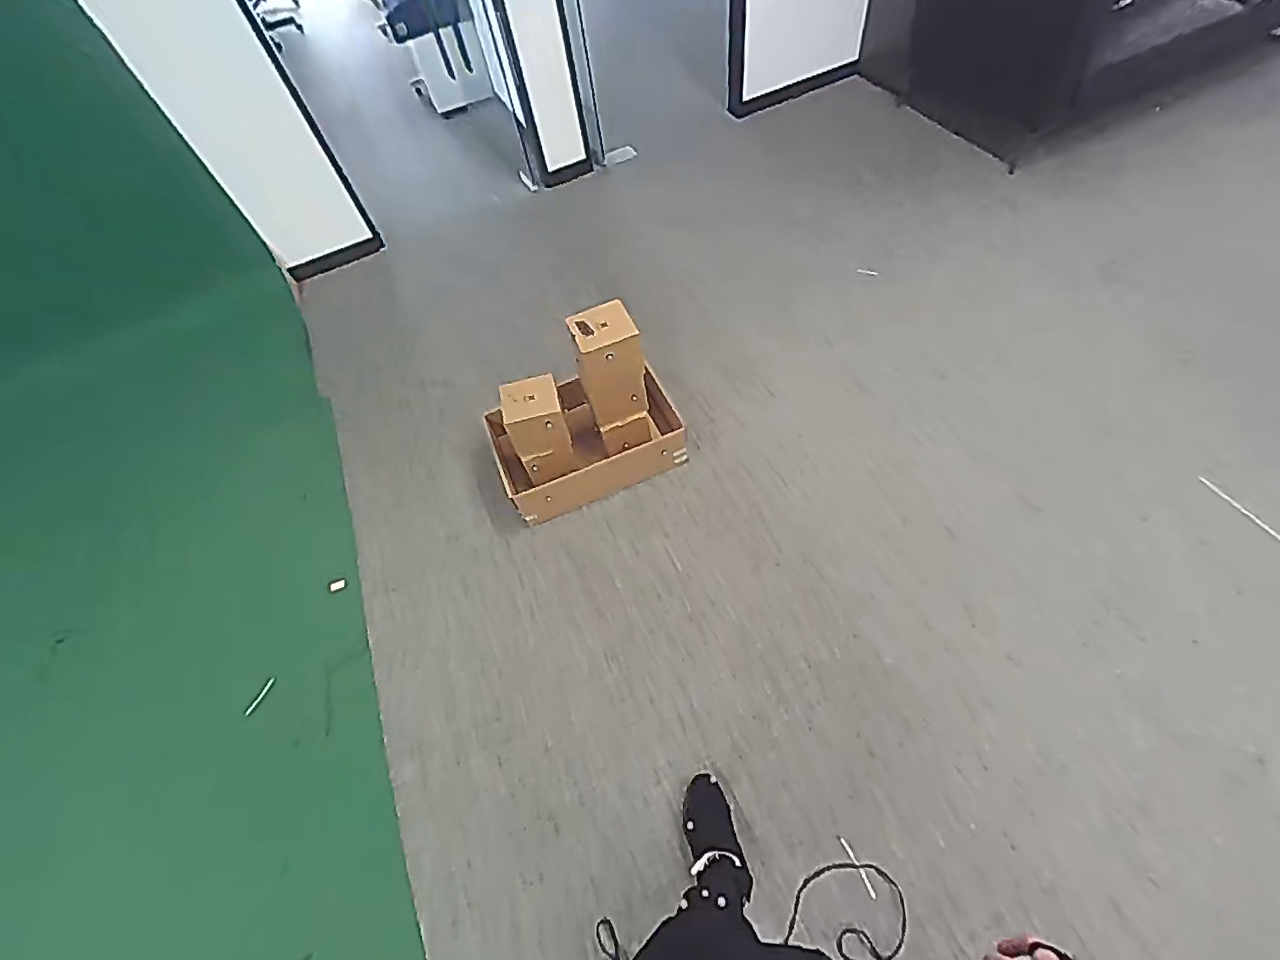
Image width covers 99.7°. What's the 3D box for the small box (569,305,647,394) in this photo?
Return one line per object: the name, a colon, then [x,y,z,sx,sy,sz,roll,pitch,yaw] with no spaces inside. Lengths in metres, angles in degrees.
small box: [-0.091,-0.384,1.615,0.179,0.176,0.168,-22,57,-6]
